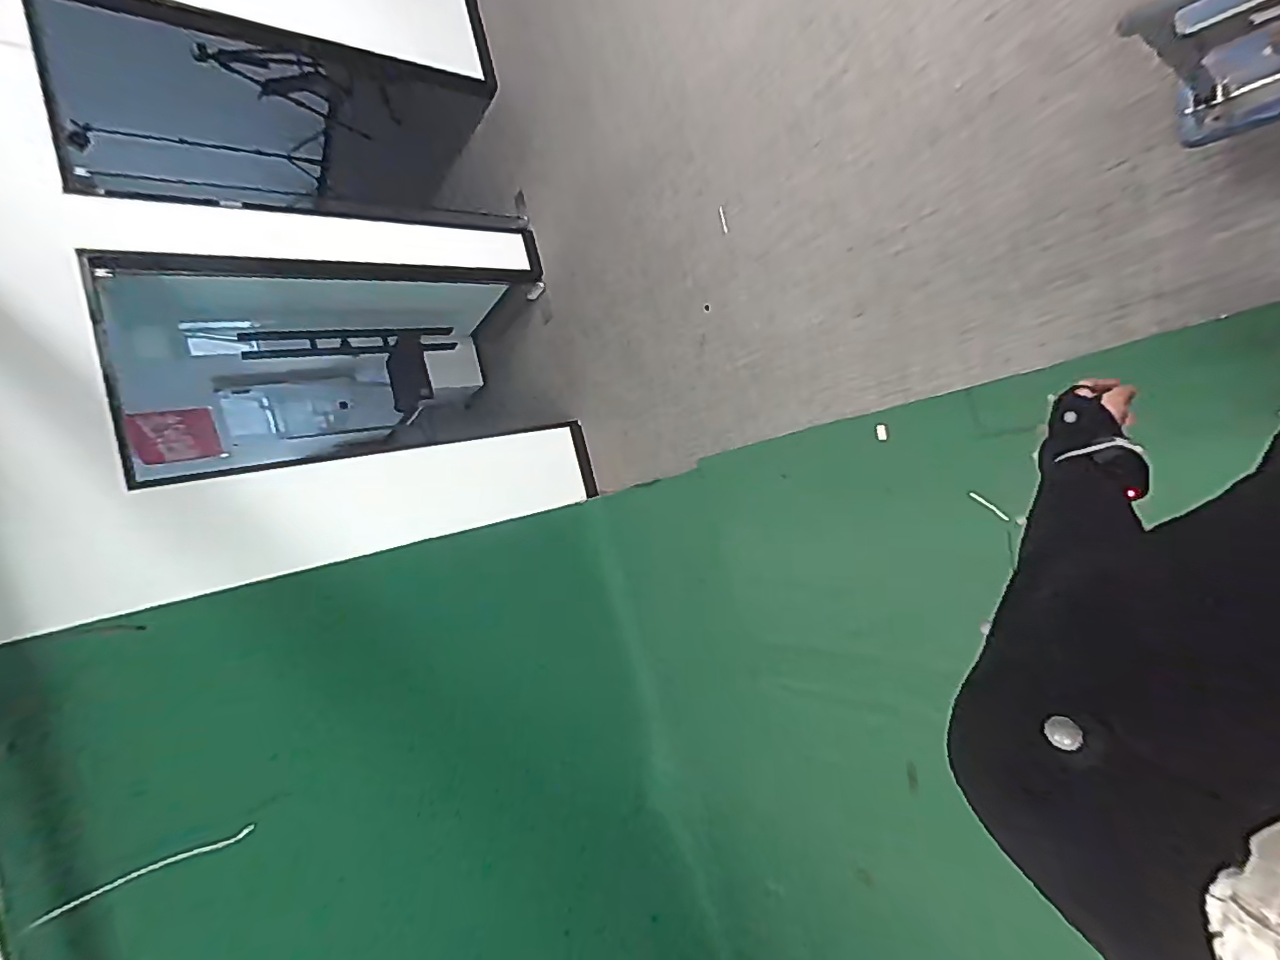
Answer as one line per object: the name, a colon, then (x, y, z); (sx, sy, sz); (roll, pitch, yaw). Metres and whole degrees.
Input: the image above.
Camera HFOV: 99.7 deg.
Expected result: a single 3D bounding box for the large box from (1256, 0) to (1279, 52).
large box: (1.018, -0.887, 0.686); (0.320, 0.320, 0.408); (2, 101, 53)
